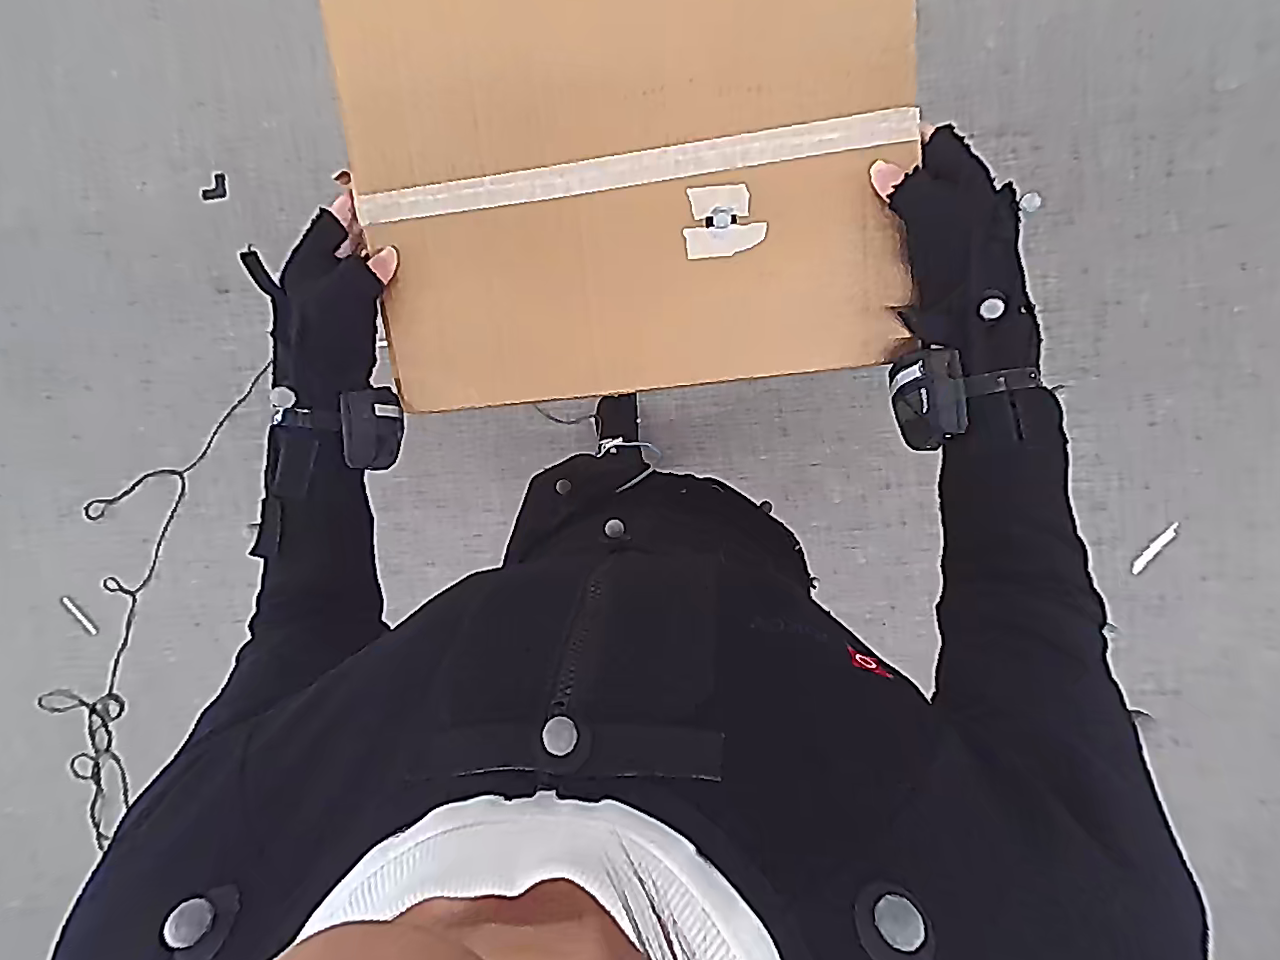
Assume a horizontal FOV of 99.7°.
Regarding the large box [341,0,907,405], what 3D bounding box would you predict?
[{"bbox_3d":[0.001,-0.262,0.551,0.408,0.320,0.320,-5,102,6],"label":"large box"}]
